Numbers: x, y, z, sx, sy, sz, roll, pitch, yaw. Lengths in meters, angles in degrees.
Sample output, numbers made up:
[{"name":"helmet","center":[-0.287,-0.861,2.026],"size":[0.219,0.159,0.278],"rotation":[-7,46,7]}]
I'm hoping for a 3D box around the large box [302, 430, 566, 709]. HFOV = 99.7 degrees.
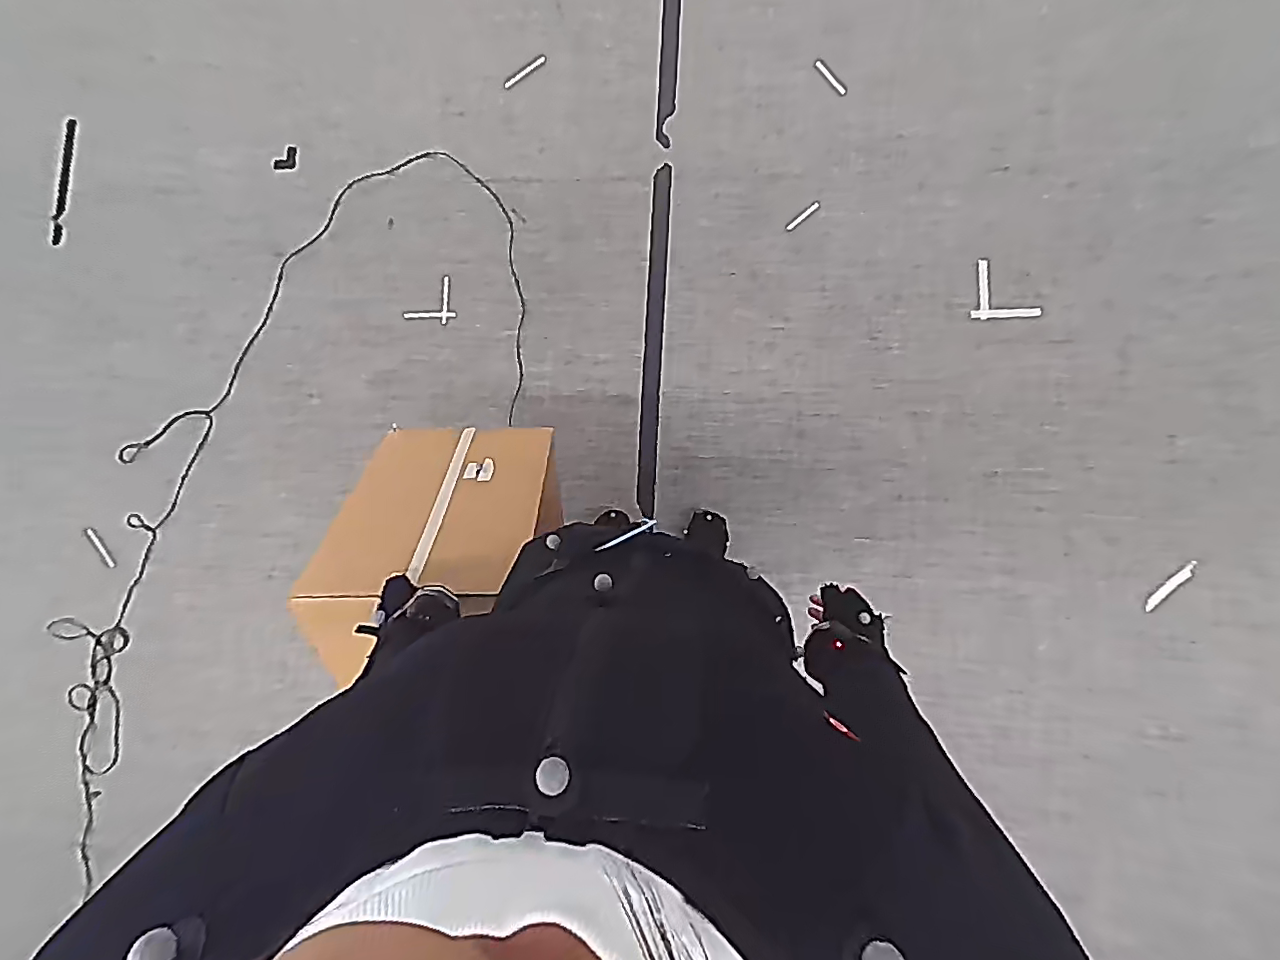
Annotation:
[{"name":"large box","center":[-0.317,0.149,0.983],"size":[0.320,0.408,0.320],"rotation":[0,128,-1]}]
